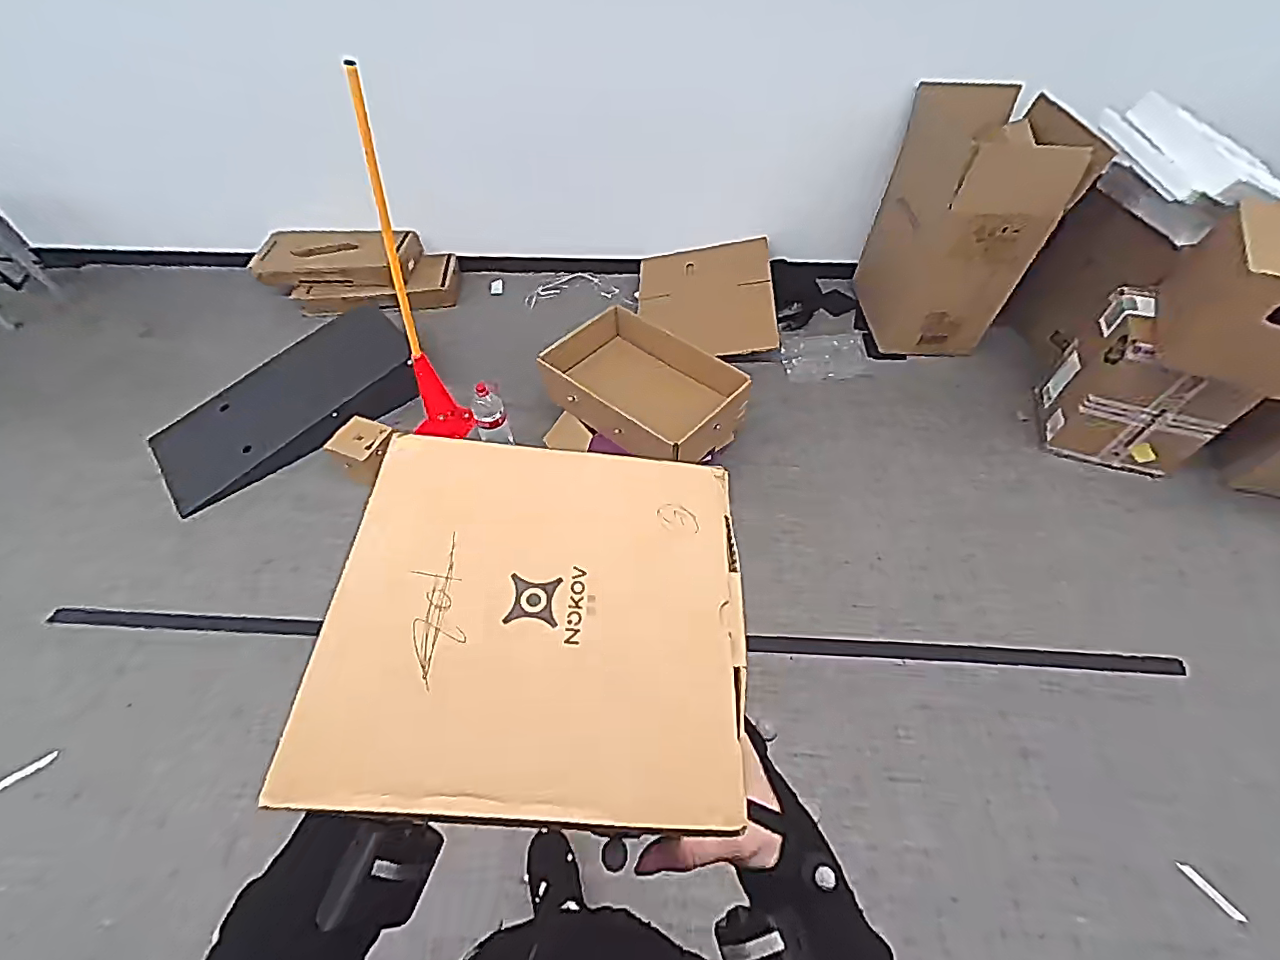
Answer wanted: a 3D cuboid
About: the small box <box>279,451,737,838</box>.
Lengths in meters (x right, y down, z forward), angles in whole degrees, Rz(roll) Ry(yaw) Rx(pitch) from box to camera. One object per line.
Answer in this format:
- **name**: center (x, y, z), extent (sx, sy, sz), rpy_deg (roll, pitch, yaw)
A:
- **small box**: center (-0.053, 0.105, 0.315), extent (0.179, 0.176, 0.168), rpy_deg (5, 55, -3)
